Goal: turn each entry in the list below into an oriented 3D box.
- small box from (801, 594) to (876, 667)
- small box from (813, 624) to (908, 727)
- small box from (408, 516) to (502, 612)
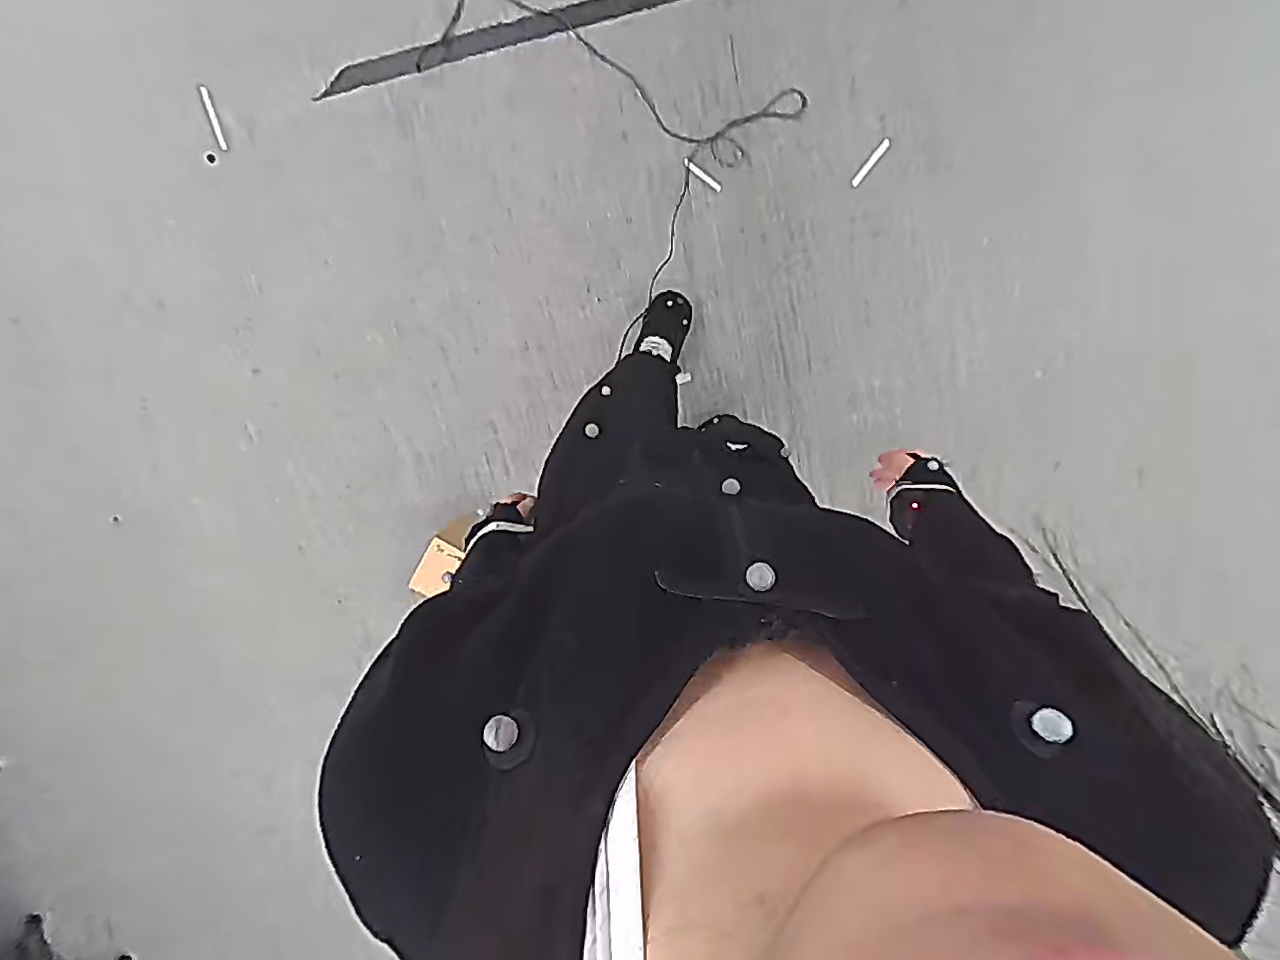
[{"bbox_3d":[0.567,0.441,1.532,0.168,0.176,0.179,-15,105,8],"label":"small box"},{"bbox_3d":[0.552,0.486,1.374,0.168,0.176,0.179,-14,104,8],"label":"small box"},{"bbox_3d":[-0.516,0.233,1.536,0.168,0.176,0.179,32,105,-5],"label":"small box"}]
